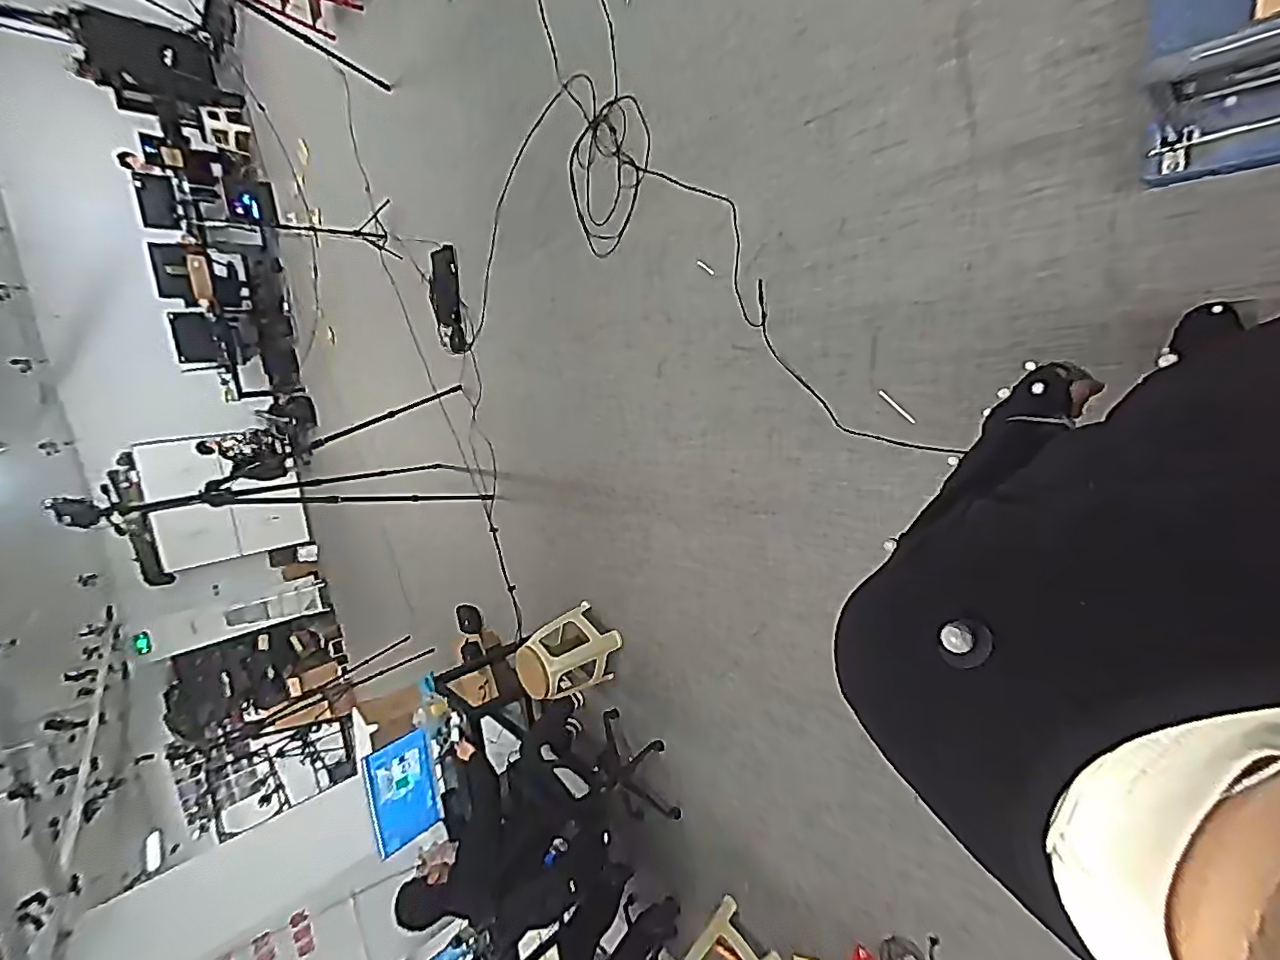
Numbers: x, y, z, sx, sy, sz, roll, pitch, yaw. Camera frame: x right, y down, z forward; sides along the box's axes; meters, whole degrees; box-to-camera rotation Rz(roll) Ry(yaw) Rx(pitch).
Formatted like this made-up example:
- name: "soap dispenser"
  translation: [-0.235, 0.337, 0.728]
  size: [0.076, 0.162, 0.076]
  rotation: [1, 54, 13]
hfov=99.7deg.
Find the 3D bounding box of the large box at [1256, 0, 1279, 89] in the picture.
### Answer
- name: "large box"
  translation: [1.024, -0.818, 0.678]
  size: [0.320, 0.320, 0.408]
  rotation: [5, 104, 47]
